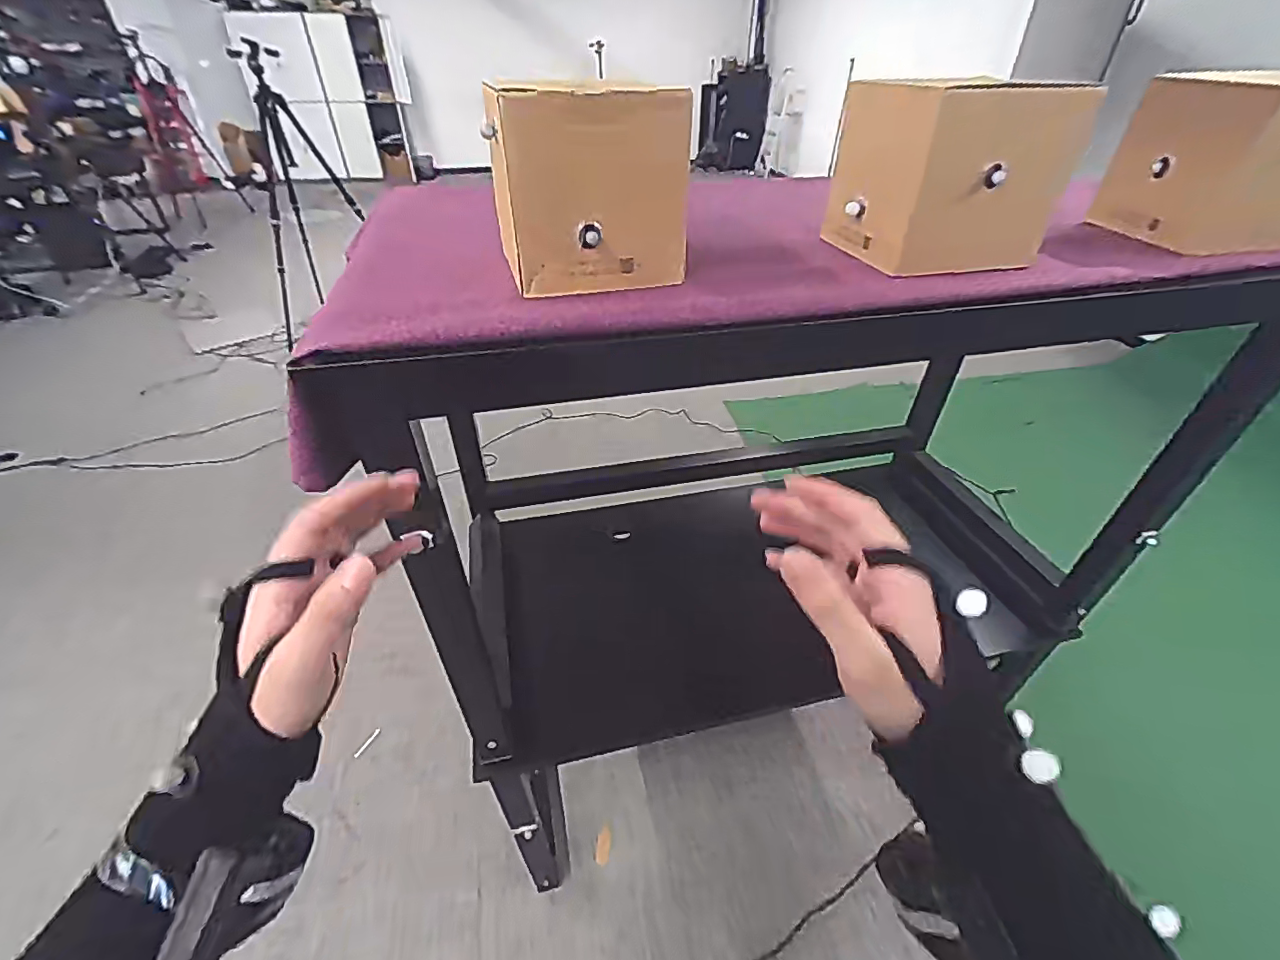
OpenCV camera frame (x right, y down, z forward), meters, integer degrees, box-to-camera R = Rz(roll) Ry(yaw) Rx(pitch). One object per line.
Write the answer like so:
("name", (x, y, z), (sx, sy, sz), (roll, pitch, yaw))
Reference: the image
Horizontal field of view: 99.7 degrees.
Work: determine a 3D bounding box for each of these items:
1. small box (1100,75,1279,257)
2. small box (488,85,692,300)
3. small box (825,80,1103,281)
("small box", (0.716, -0.380, 0.655), (0.179, 0.176, 0.168), (-6, 40, -5))
("small box", (-0.057, -0.298, 0.557), (0.168, 0.176, 0.179), (-10, 40, -13))
("small box", (0.332, -0.333, 0.599), (0.179, 0.176, 0.168), (-8, 38, -9))
